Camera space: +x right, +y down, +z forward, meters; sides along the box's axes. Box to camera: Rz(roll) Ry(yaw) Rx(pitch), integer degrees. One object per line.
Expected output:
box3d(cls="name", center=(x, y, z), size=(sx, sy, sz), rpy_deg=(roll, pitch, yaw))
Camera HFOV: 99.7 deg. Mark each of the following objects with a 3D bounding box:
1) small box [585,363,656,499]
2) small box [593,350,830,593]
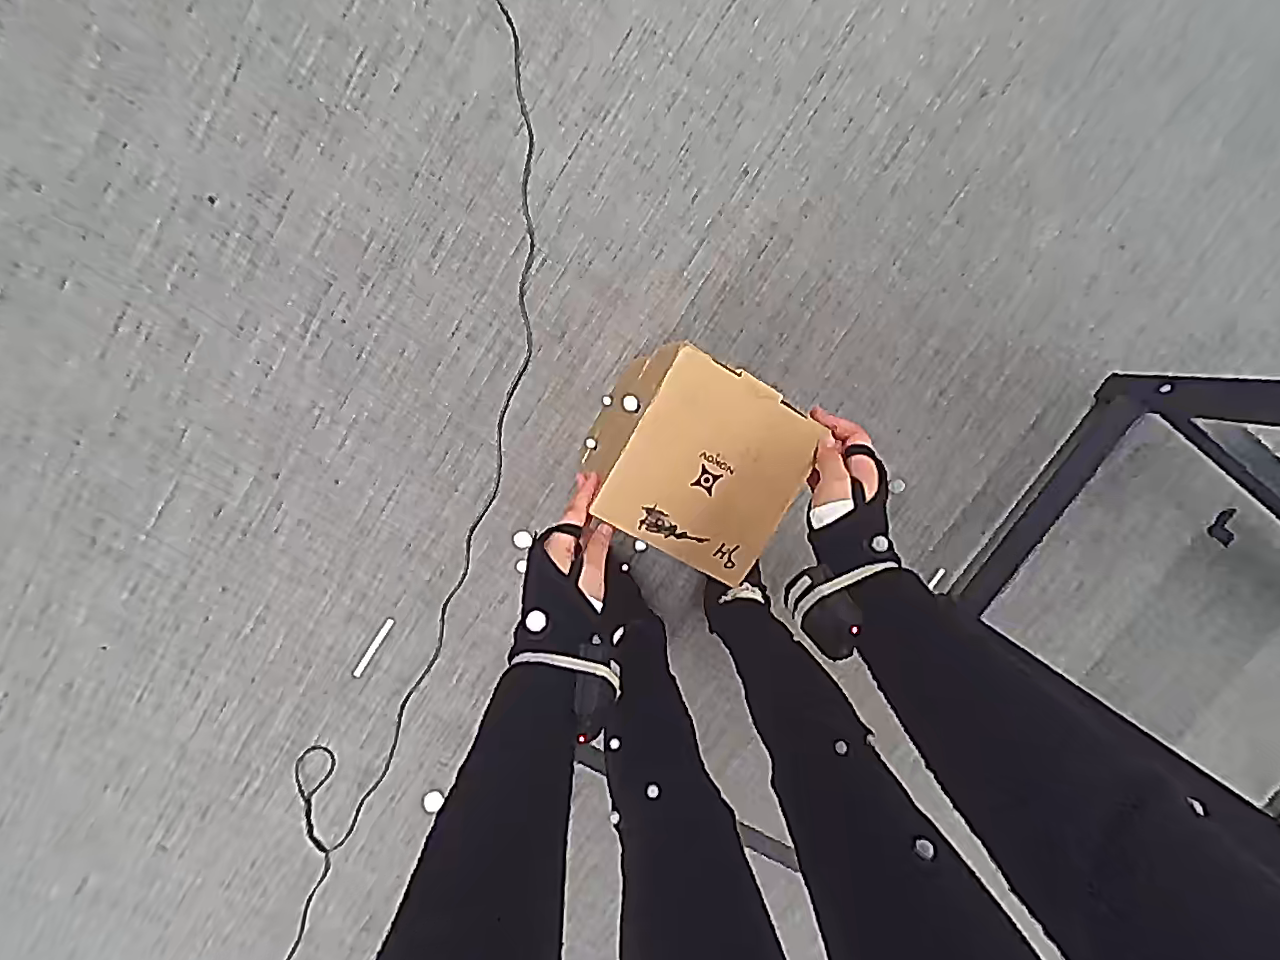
box3d(cls="small box", center=(0.035, -0.042, 0.735), size=(0.168, 0.176, 0.179), rpy_deg=(25, 97, -11))
box3d(cls="small box", center=(0.058, -0.017, 0.573), size=(0.168, 0.176, 0.179), rpy_deg=(29, 96, -10))
